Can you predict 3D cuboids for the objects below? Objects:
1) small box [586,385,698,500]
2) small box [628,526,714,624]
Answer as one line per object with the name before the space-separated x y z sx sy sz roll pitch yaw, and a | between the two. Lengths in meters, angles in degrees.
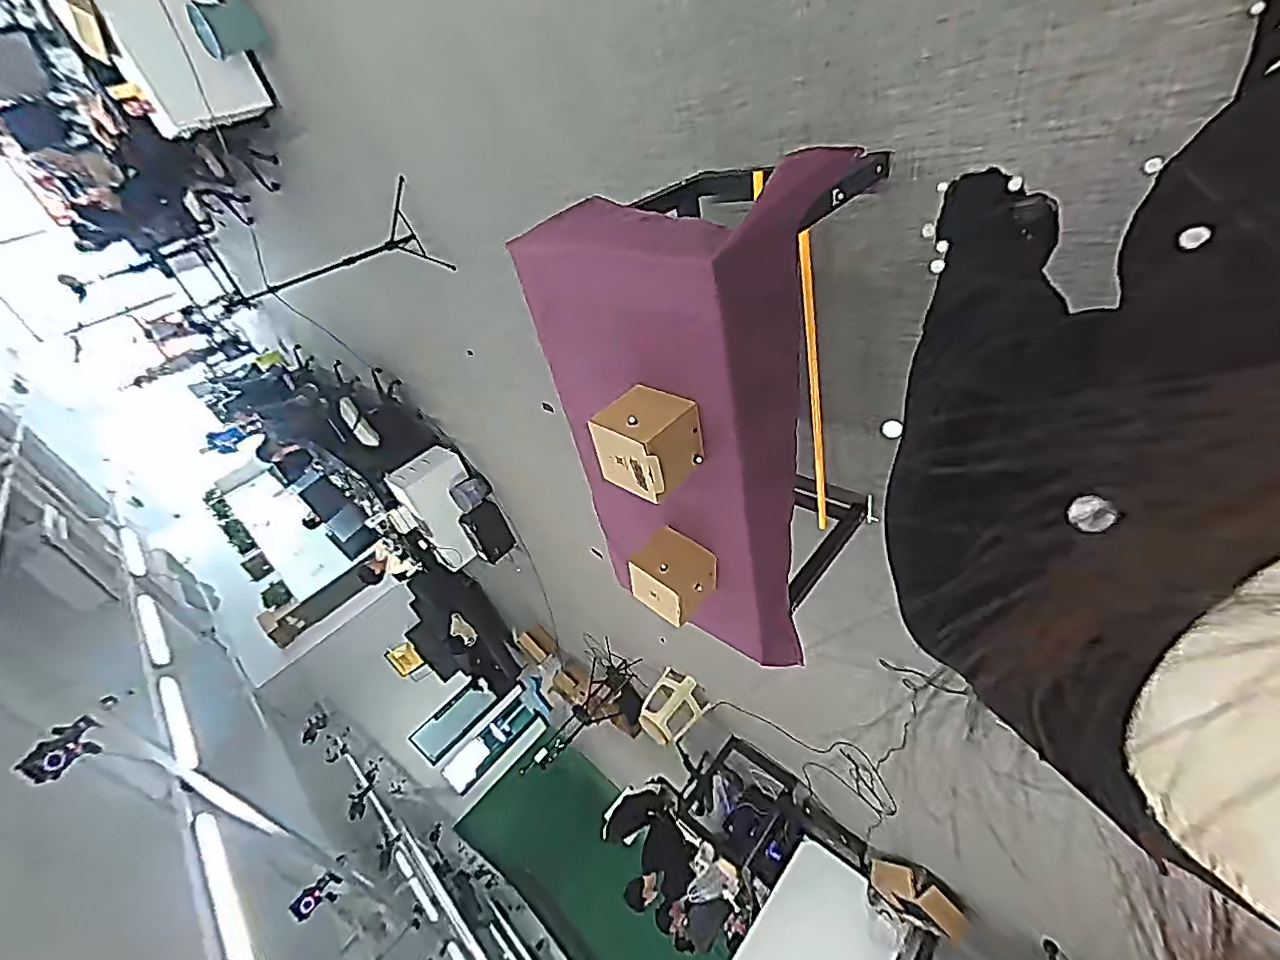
small box | 0.015 -0.091 1.195 0.179 0.176 0.168 25 143 38
small box | 0.091 0.256 1.495 0.179 0.176 0.168 30 145 31
